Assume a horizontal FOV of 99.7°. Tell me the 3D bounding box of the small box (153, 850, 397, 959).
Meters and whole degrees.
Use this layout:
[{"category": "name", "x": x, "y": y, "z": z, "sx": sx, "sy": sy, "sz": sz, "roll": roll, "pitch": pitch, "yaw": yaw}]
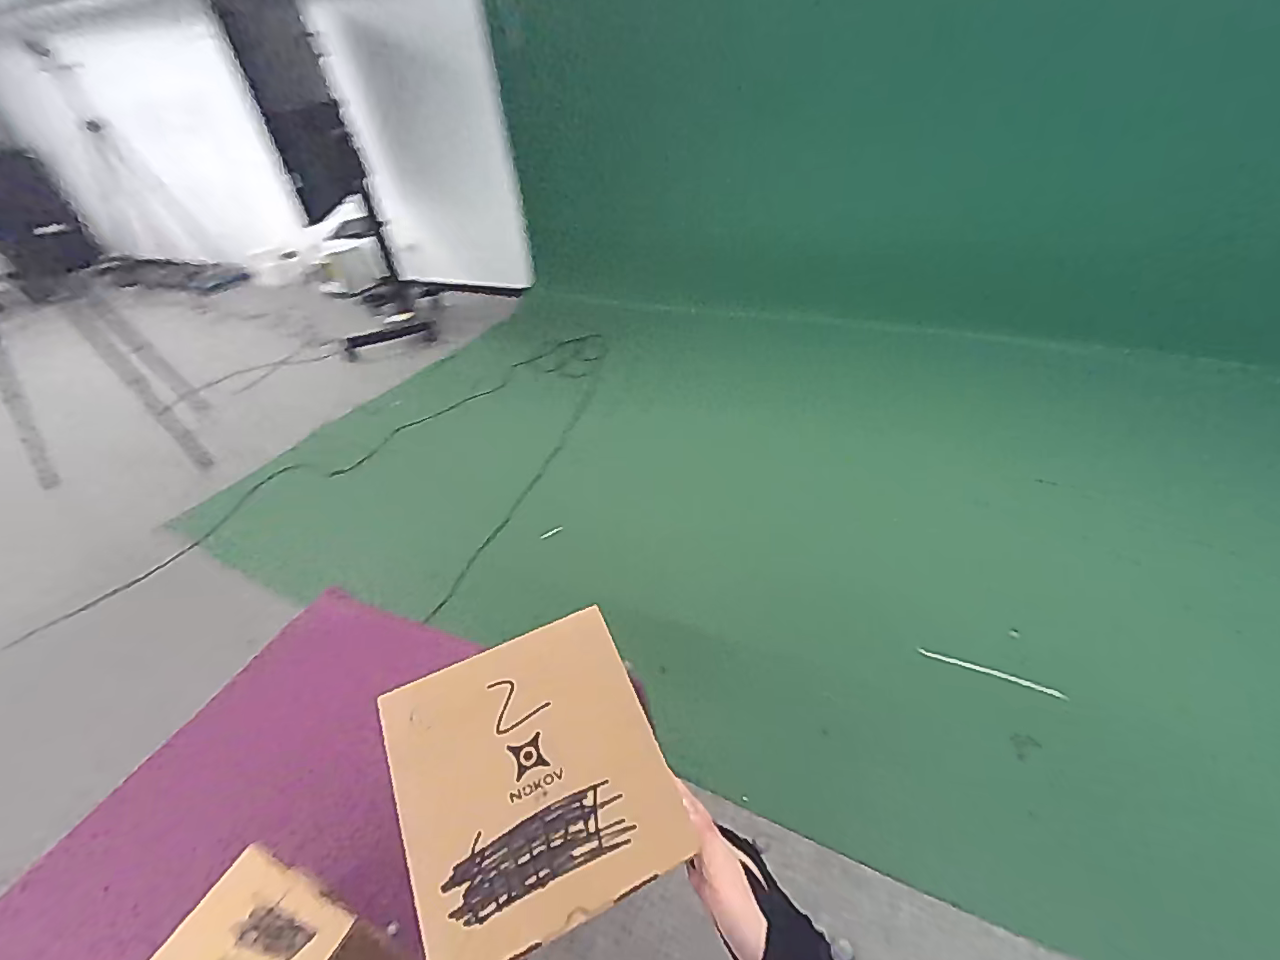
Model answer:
[{"category": "small box", "x": -0.375, "y": 0.527, "z": 0.544, "sx": 0.168, "sy": 0.176, "sz": 0.179, "roll": 12, "pitch": 43, "yaw": 23}]
